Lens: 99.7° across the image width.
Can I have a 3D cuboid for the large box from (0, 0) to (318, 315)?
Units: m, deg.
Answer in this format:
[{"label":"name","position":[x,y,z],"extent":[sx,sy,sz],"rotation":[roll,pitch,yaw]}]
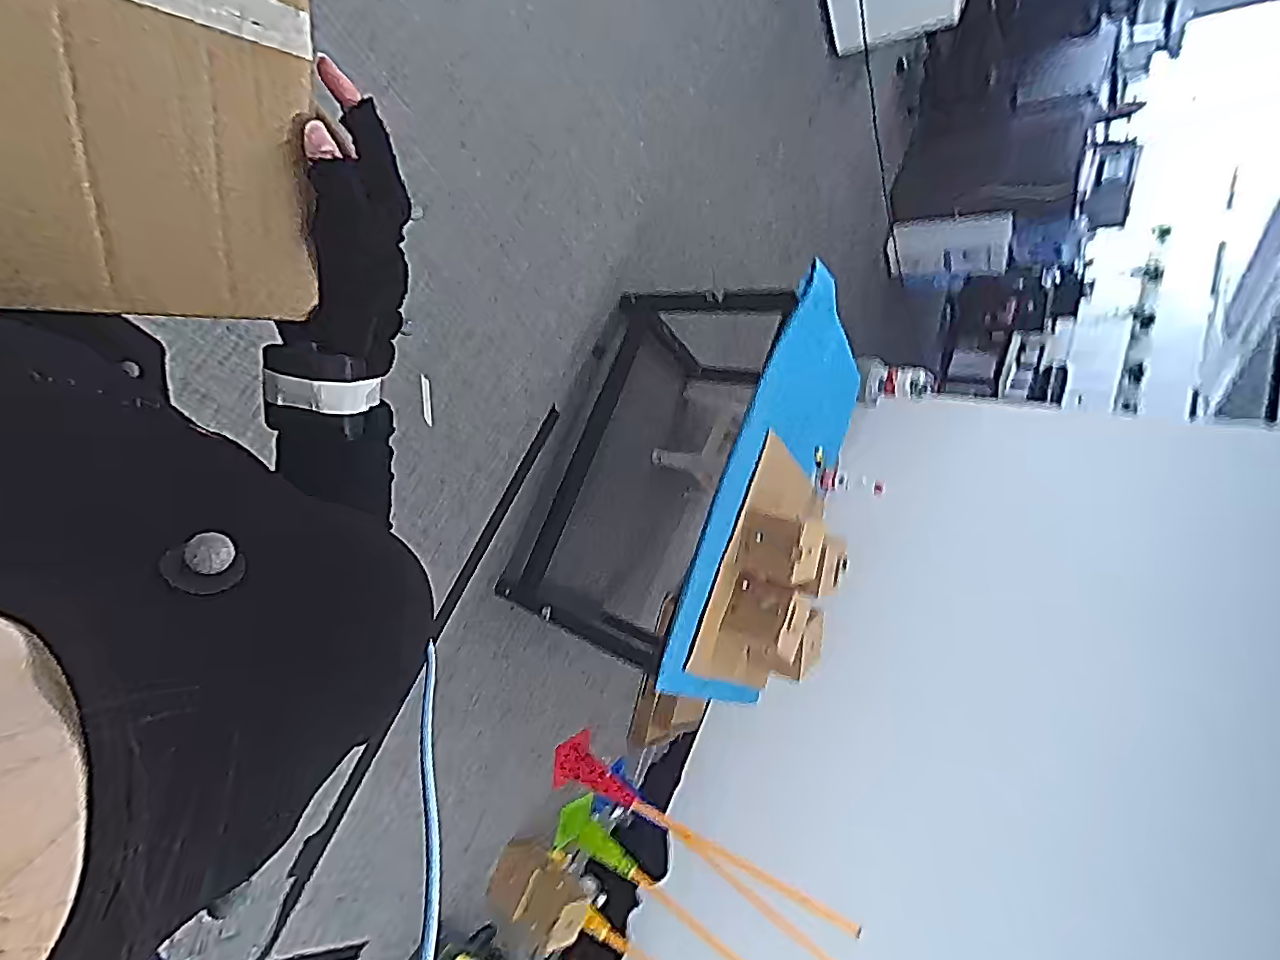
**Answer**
[{"label":"large box","position":[-0.434,-0.281,0.262],"extent":[0.408,0.320,0.320],"rotation":[-13,127,-43]}]
